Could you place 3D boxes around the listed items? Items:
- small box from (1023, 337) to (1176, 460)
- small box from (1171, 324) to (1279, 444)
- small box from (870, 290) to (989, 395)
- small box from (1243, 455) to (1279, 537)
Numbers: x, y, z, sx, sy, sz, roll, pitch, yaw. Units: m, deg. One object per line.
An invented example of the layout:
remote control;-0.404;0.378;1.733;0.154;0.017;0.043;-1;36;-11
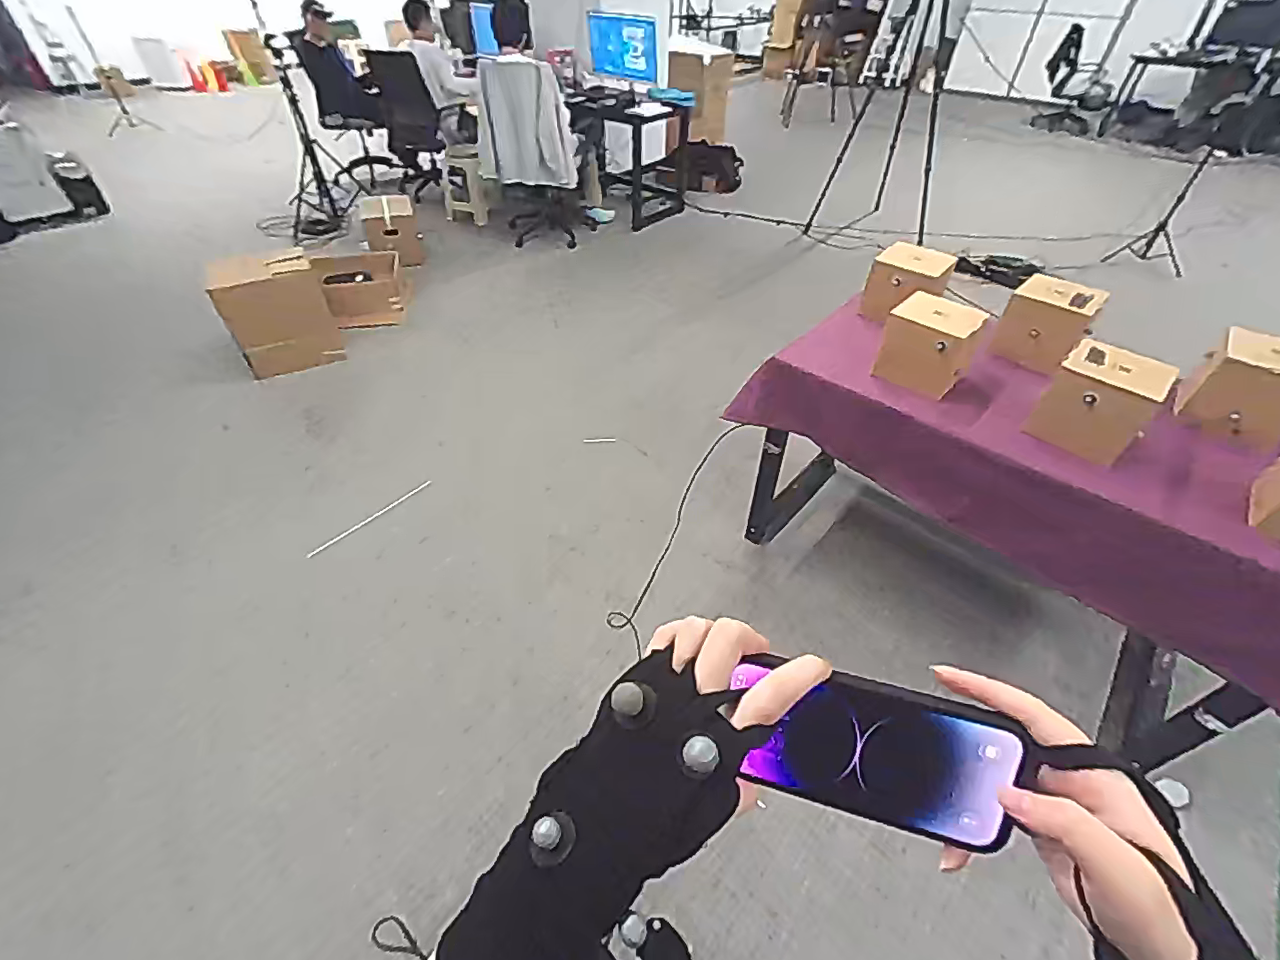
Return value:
small box;0.959;-0.172;1.143;0.168;0.176;0.179;-34;55;-30
small box;1.320;-0.211;1.184;0.168;0.176;0.179;30;52;28
small box;0.688;-0.330;1.305;0.179;0.176;0.168;35;53;29
small box;1.234;0.022;0.944;0.179;0.176;0.168;32;52;28
